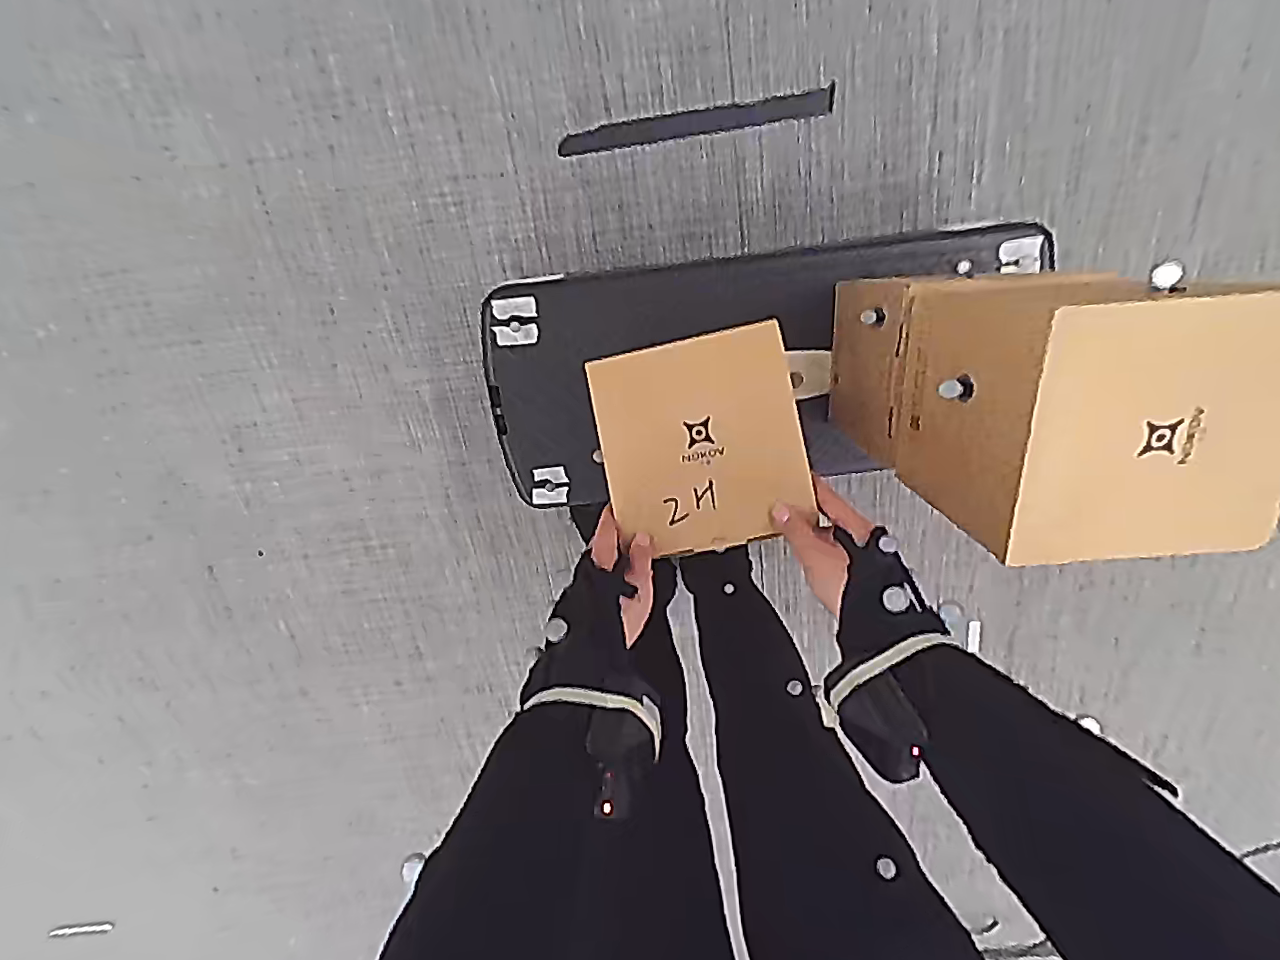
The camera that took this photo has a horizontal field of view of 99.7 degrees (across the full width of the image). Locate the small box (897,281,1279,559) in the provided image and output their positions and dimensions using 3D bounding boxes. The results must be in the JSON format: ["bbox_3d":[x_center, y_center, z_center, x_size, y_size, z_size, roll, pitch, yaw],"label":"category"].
[{"bbox_3d":[0.318,-0.056,0.404,0.179,0.176,0.168,-4,111,0],"label":"small box"}]

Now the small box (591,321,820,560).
[{"bbox_3d":[0.060,-0.029,0.523,0.168,0.176,0.179,-11,88,7],"label":"small box"}]

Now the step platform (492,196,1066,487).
[{"bbox_3d":[0.160,-0.176,0.716,0.684,0.204,0.286,-6,110,2],"label":"step platform"}]
